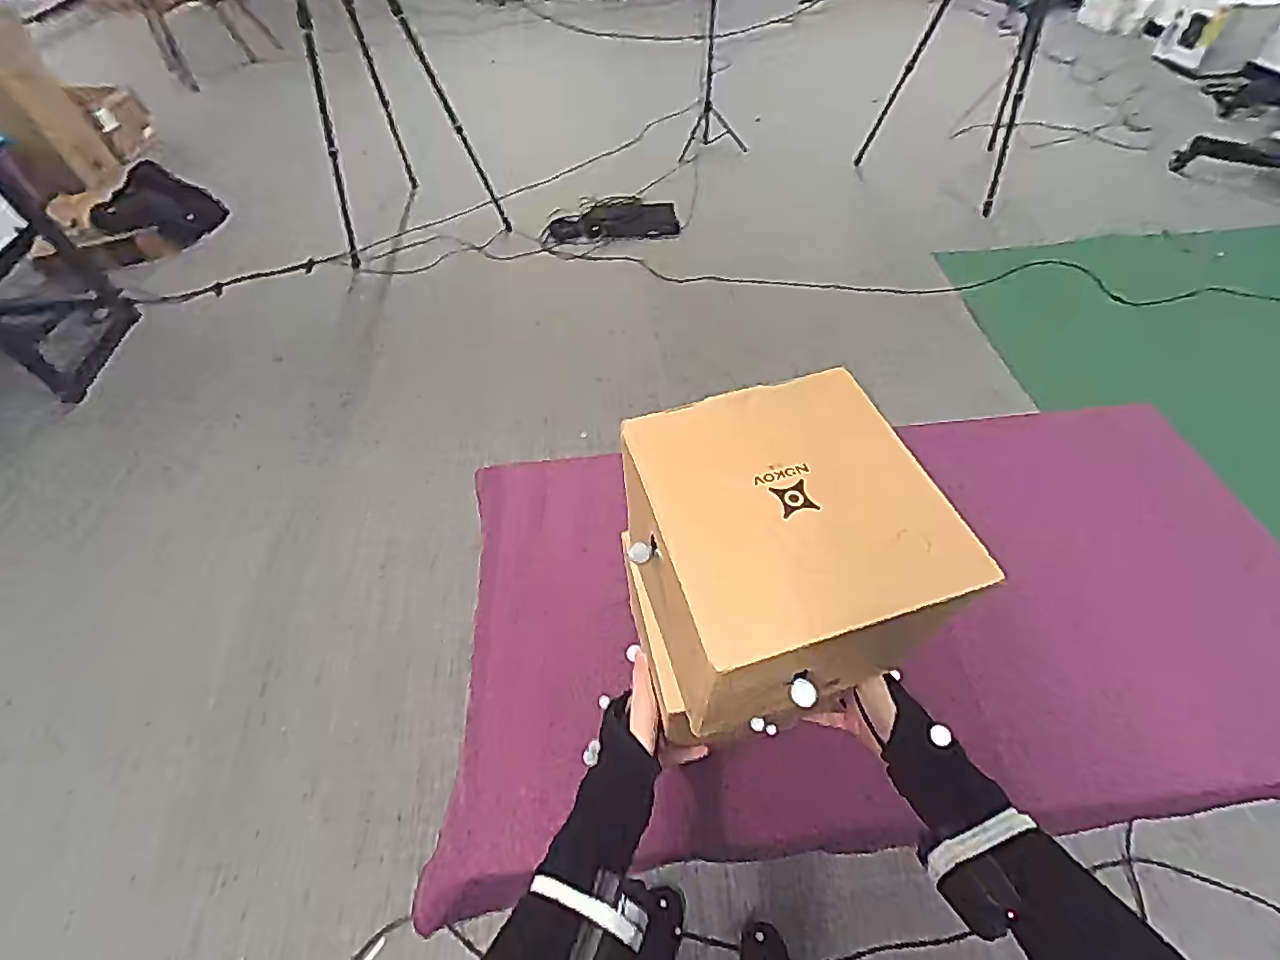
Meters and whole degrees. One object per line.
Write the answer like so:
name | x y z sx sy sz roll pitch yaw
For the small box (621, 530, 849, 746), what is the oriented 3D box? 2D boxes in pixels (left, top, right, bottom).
small box | 0.088 0.139 0.524 0.179 0.176 0.168 -14 54 -4

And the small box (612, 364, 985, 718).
small box | 0.086 0.052 0.386 0.168 0.176 0.179 -15 54 -8
